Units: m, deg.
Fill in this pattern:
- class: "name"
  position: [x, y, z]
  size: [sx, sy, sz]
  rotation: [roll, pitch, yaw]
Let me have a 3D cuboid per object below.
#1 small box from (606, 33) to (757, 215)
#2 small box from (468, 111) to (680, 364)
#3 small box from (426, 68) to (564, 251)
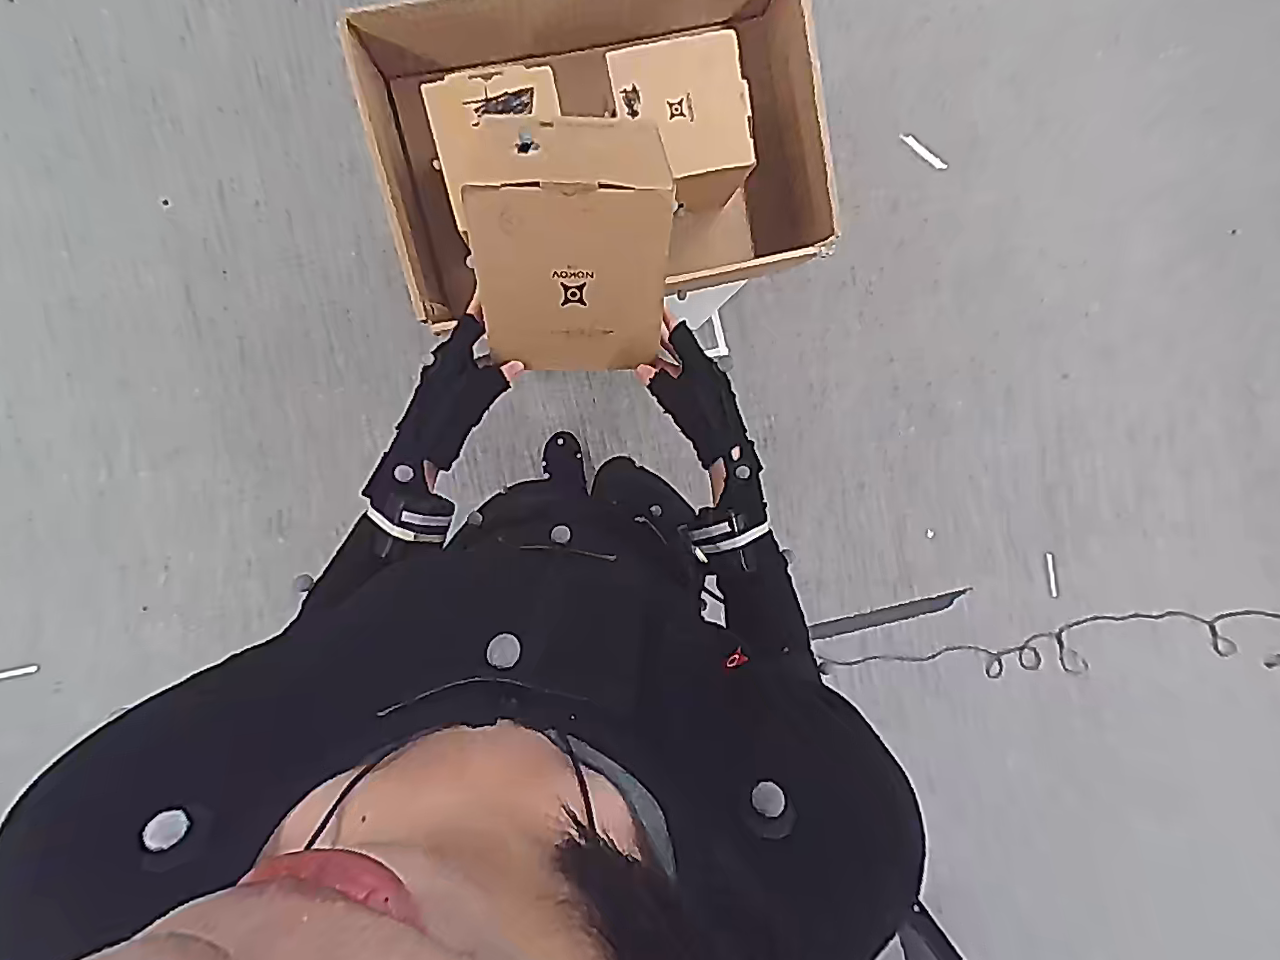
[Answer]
- class: "small box"
  position: [0.050, -0.498, 0.788]
  size: [0.179, 0.176, 0.168]
  rotation: [-13, 100, -4]
- class: "small box"
  position: [-0.062, -0.234, 0.524]
  size: [0.168, 0.179, 0.176]
  rotation: [-1, 50, -5]
- class: "small box"
  position: [-0.182, -0.433, 0.767]
  size: [0.168, 0.176, 0.179]
  rotation: [-13, 101, -6]
